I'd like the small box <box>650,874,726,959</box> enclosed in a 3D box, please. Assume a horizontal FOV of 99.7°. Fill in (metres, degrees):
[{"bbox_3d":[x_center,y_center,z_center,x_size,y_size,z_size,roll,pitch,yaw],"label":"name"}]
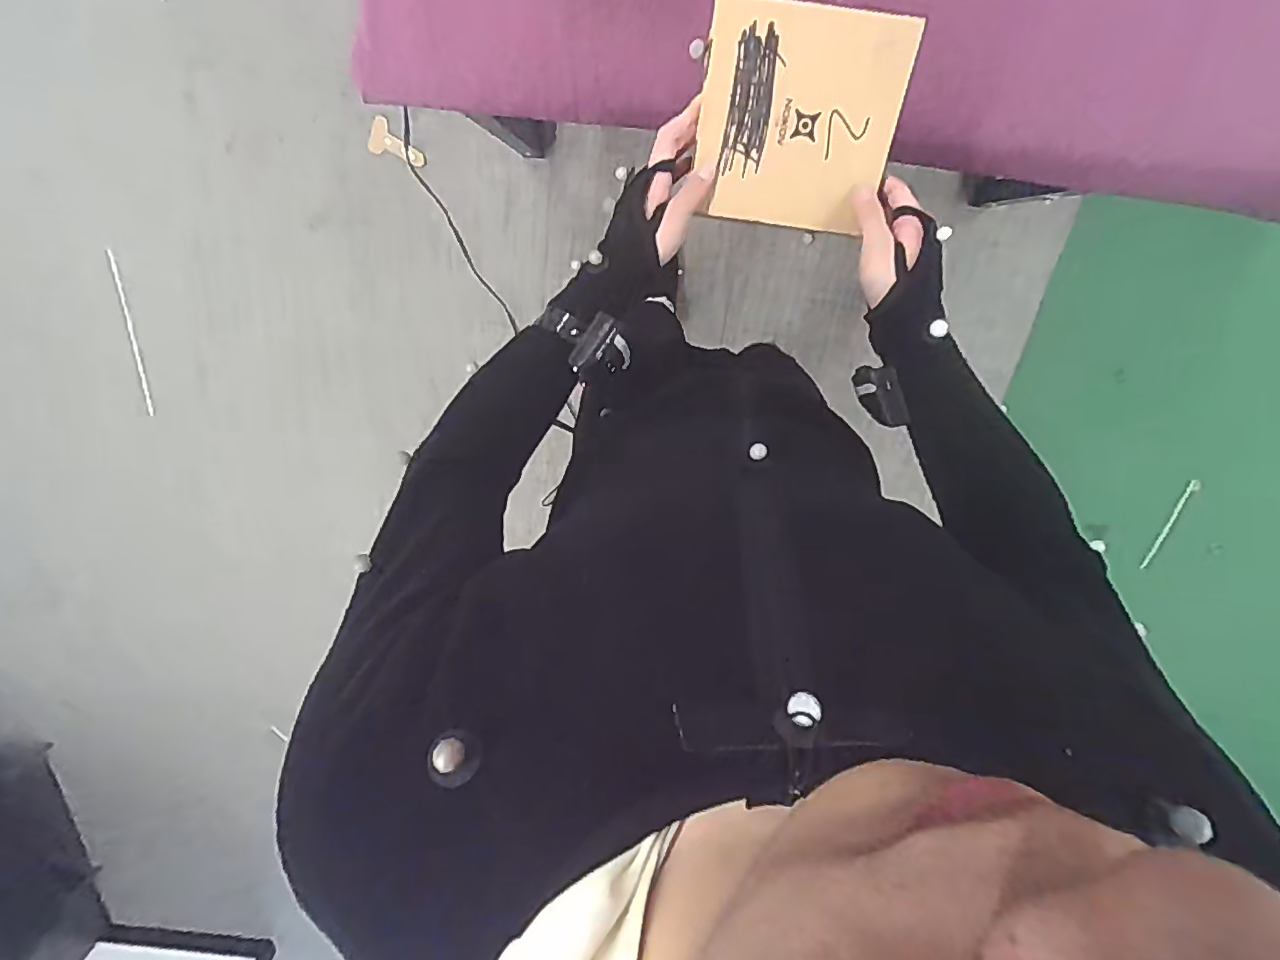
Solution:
[{"bbox_3d":[0.122,1.202,1.442,0.168,0.176,0.179,10,112,-3],"label":"small box"}]
